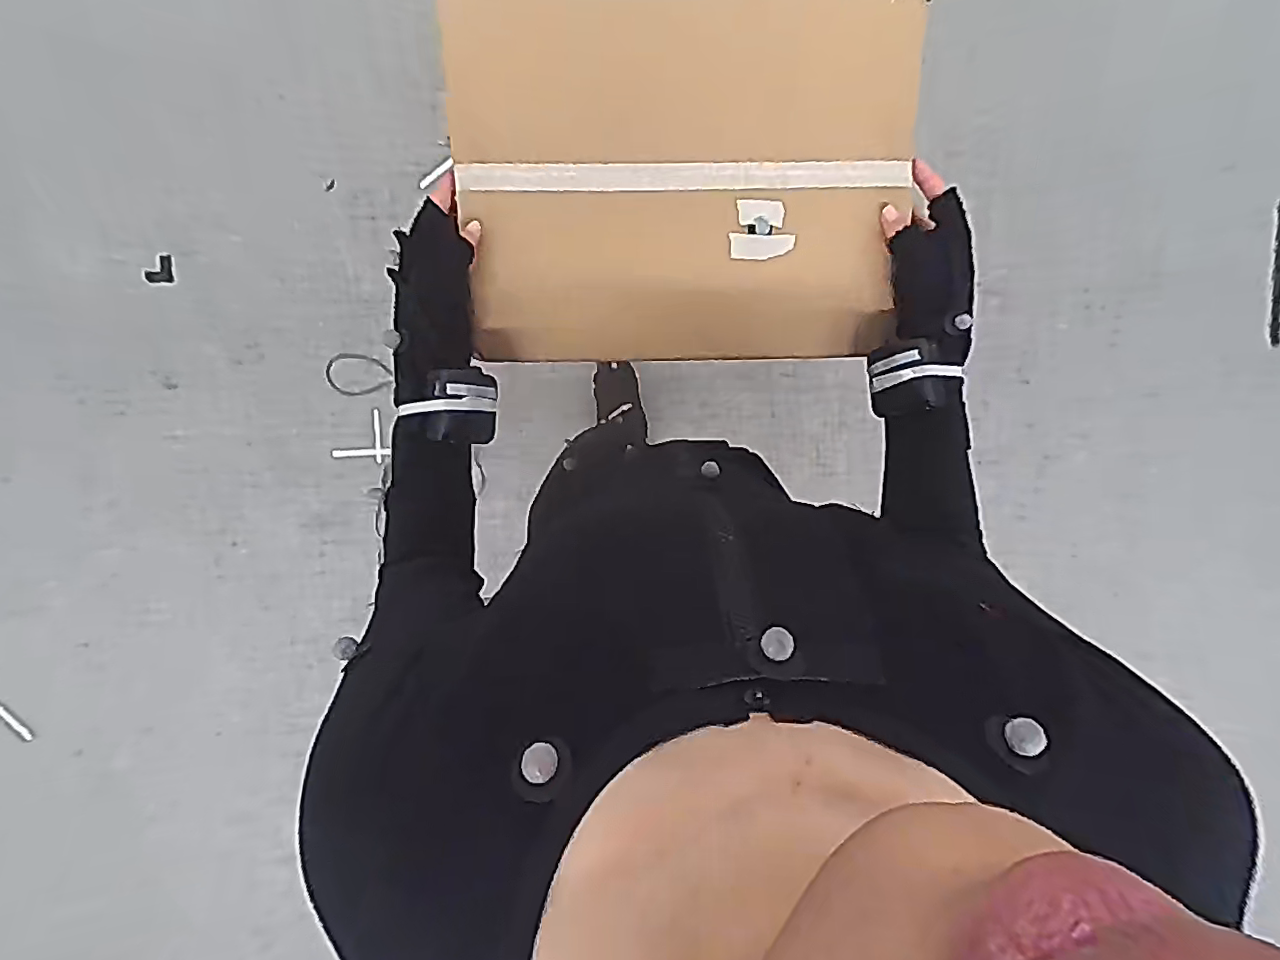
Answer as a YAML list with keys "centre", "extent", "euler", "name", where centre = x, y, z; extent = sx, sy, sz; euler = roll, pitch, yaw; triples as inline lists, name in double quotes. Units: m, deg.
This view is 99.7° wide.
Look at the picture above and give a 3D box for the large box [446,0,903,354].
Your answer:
- centre: [0.029, -0.316, 0.639]
  extent: [0.408, 0.320, 0.320]
  euler: [-2, 103, -3]
  name: "large box"
